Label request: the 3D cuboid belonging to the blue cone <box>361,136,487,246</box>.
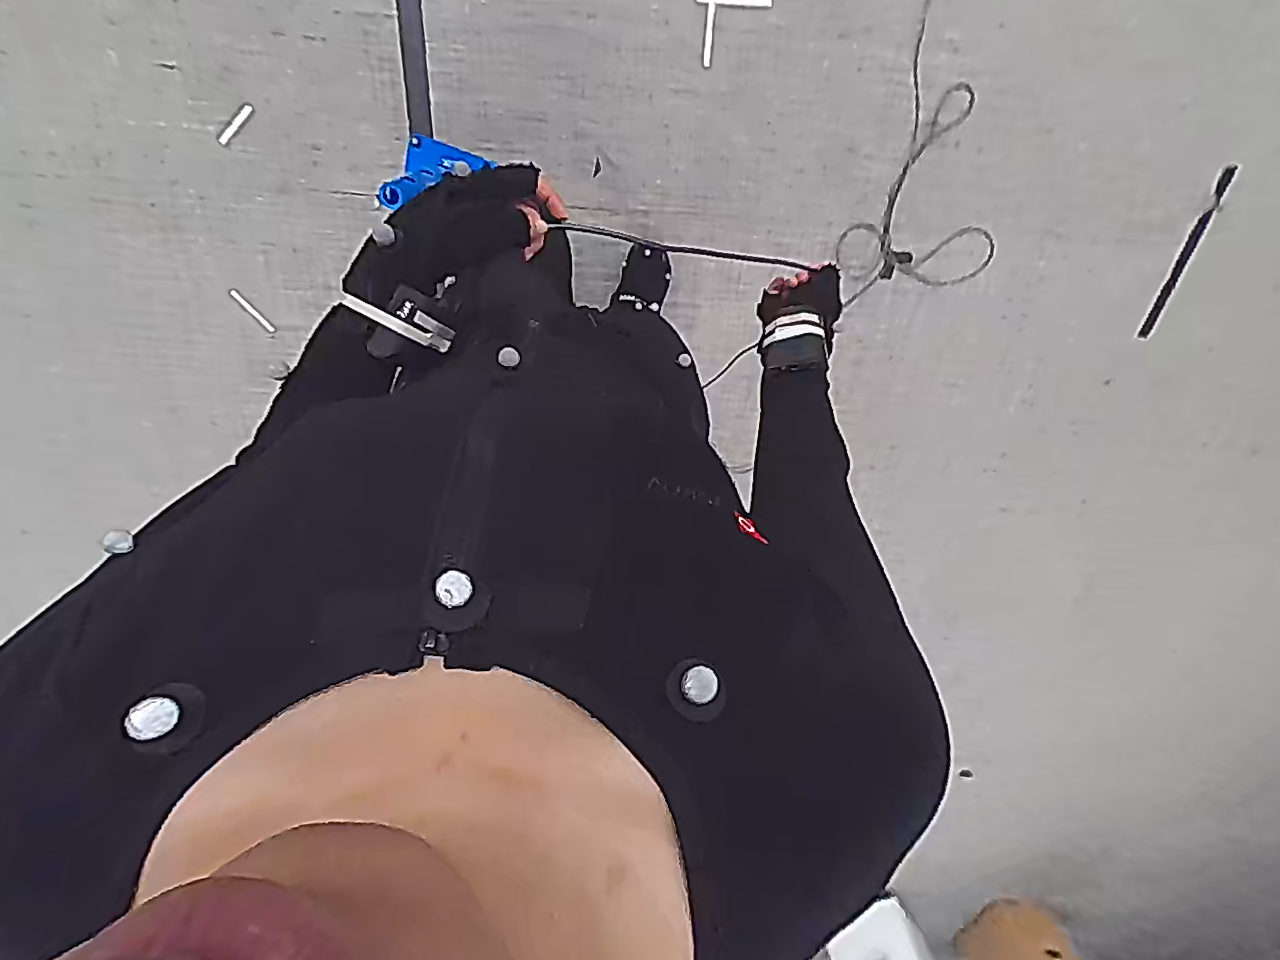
[{"bbox_3d":[-0.445,-0.570,1.072,0.192,0.380,0.193,18,115,-10],"label":"blue cone"}]
